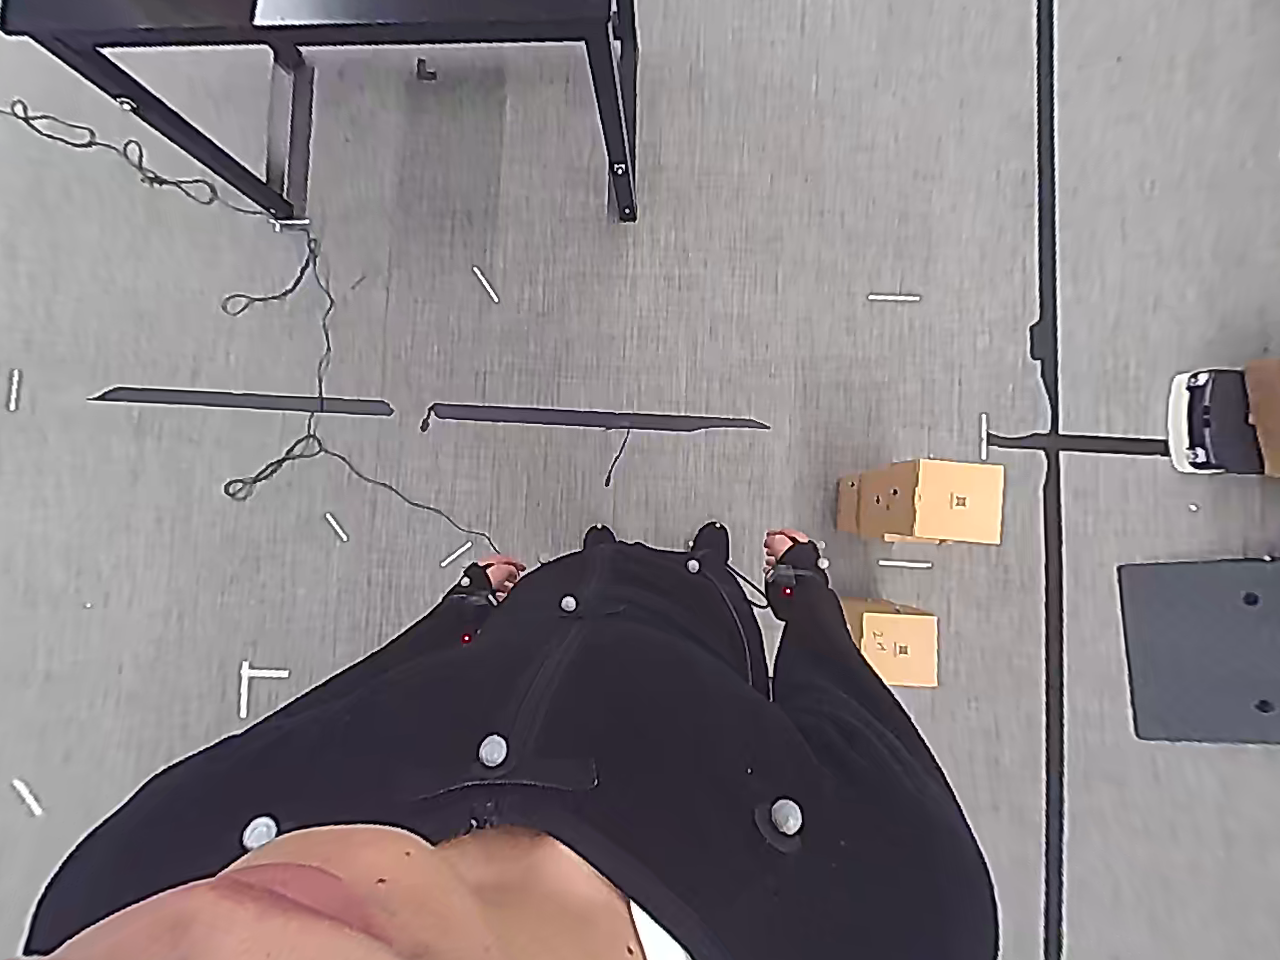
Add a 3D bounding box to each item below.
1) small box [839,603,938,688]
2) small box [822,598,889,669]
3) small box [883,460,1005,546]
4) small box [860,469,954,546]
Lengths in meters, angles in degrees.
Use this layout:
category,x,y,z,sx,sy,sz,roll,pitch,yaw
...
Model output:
category,x,y,z,sx,sy,sz,roll,pitch,yaw
small box,0.612,0.404,1.345,0.179,0.176,0.168,2,86,4
small box,0.619,0.425,1.509,0.179,0.176,0.168,1,86,4
small box,0.663,0.049,1.195,0.179,0.176,0.168,5,88,4
small box,0.666,0.067,1.357,0.168,0.176,0.179,3,88,3
